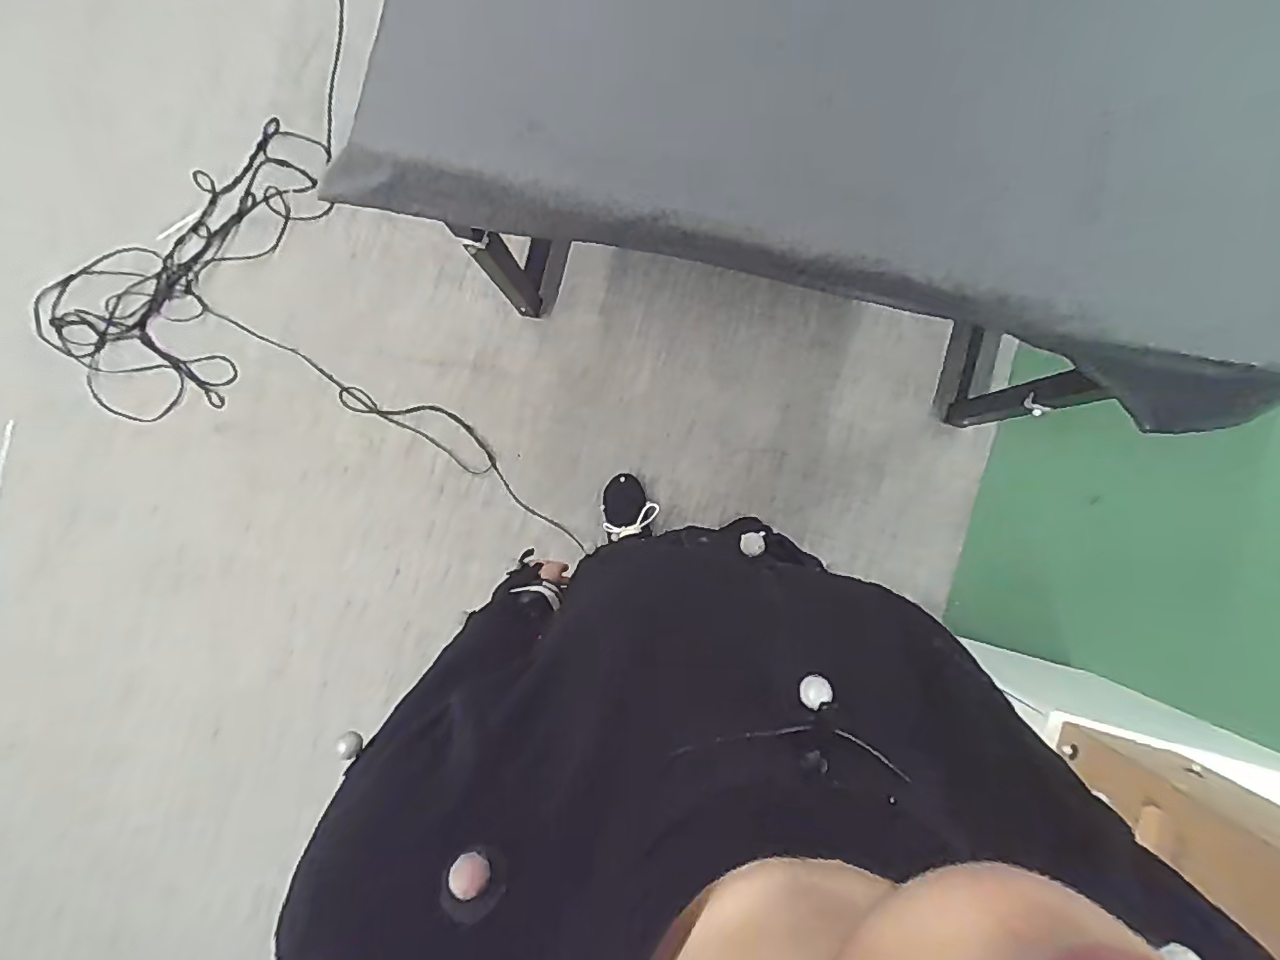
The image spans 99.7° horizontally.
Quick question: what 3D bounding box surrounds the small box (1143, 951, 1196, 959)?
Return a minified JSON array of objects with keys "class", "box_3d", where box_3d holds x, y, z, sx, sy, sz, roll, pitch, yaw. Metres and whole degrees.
[{"class":"small box","box_3d":[0.614,0.619,0.529,0.179,0.176,0.168,11,90,1]}]
